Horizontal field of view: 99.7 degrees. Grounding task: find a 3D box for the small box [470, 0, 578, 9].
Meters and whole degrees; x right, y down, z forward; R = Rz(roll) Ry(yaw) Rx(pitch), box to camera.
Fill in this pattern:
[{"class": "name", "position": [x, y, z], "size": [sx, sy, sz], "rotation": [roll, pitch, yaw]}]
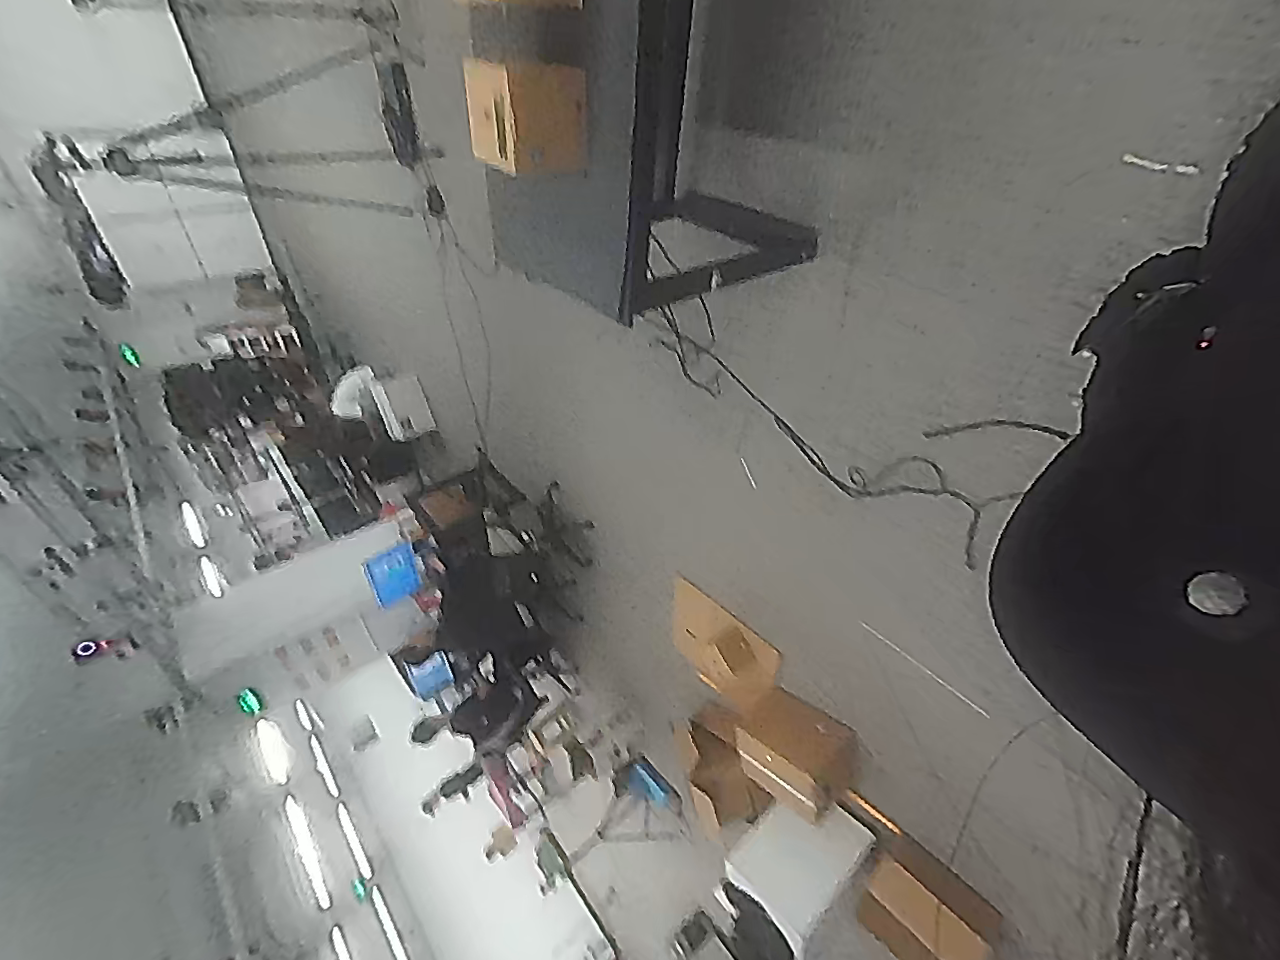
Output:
[{"class": "small box", "position": [-0.217, -0.919, 0.921], "size": [0.179, 0.176, 0.168], "rotation": [37, 140, 34]}]
